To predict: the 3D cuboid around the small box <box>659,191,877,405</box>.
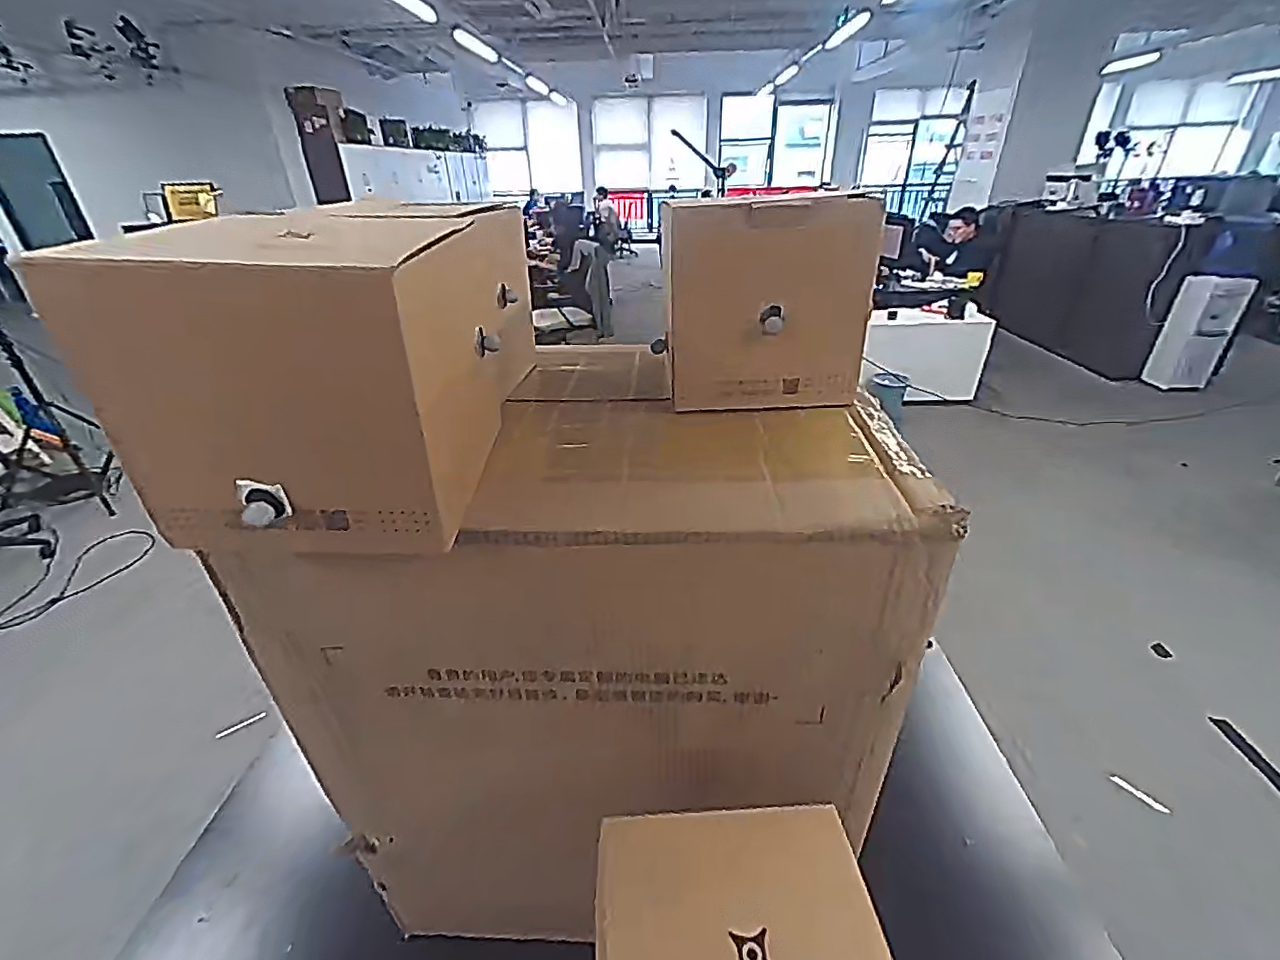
[{"bbox_3d":[0.105,-0.177,0.522,0.168,0.176,0.179,-2,29,1],"label":"small box"}]
